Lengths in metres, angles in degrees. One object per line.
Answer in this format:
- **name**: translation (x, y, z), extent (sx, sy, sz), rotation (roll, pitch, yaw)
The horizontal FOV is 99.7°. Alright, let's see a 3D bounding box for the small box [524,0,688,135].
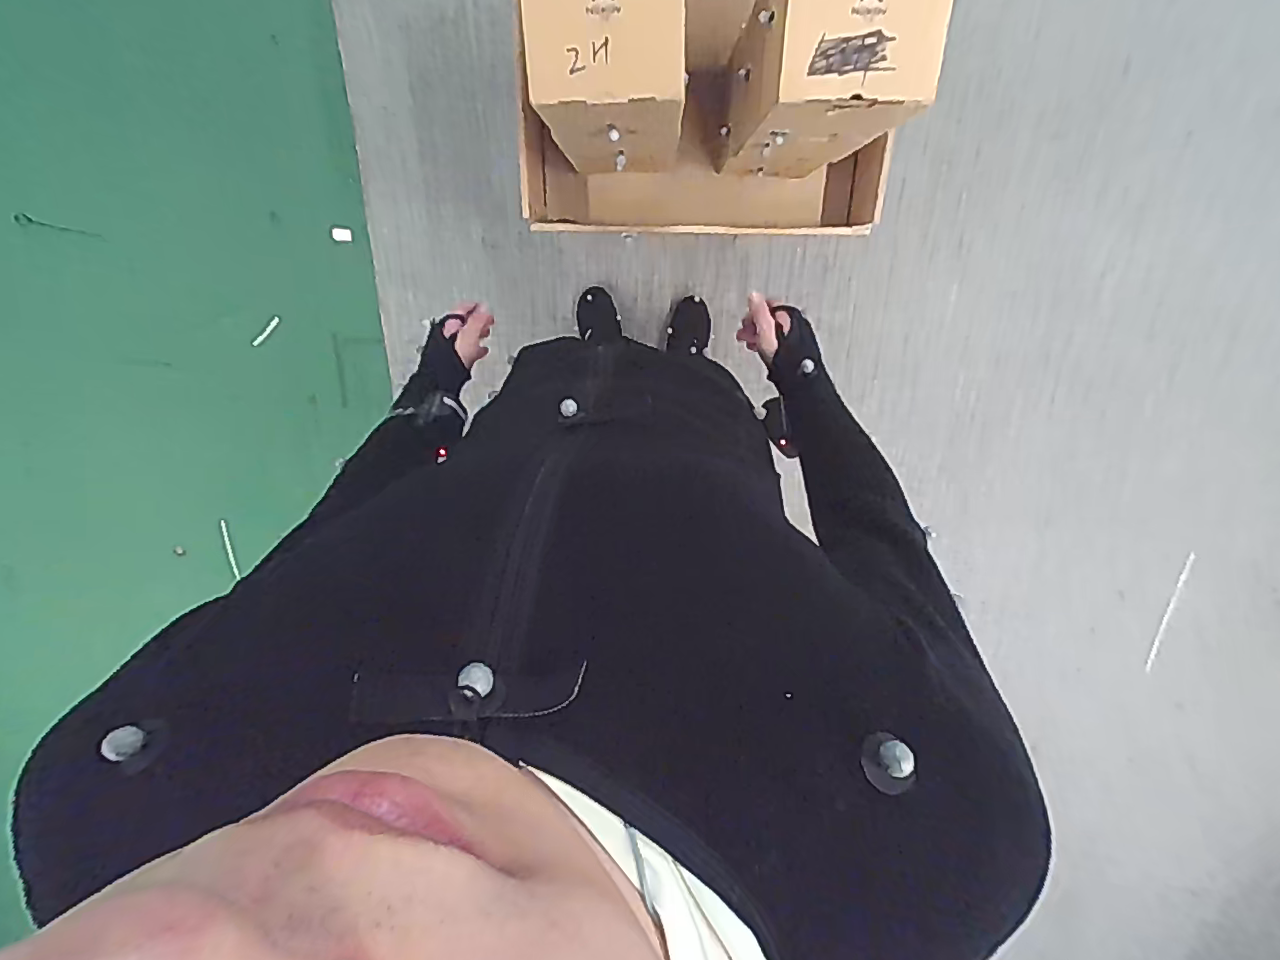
- **small box**: translation (-0.034, -0.510, 0.608), extent (0.168, 0.176, 0.179), rotation (-1, 112, 2)

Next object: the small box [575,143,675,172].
- **small box**: translation (-0.029, -0.627, 0.916), extent (0.179, 0.176, 0.168), rotation (0, 111, 0)

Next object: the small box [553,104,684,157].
- **small box**: translation (-0.032, -0.567, 0.764), extent (0.179, 0.176, 0.168), rotation (-2, 111, 1)

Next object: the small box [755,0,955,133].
- **small box**: translation (0.229, -0.505, 0.604), extent (0.168, 0.176, 0.179), rotation (1, 111, 0)
